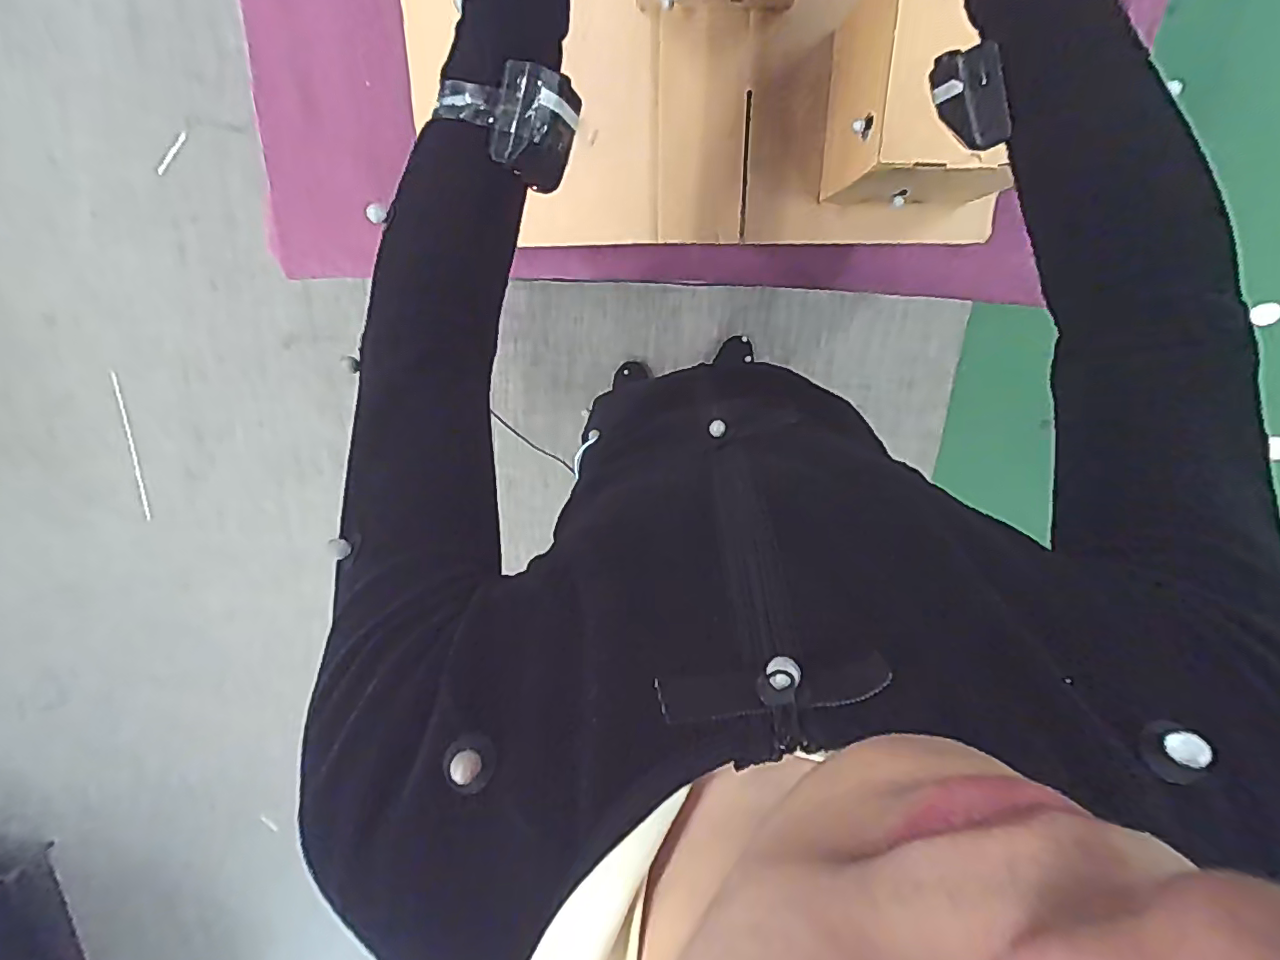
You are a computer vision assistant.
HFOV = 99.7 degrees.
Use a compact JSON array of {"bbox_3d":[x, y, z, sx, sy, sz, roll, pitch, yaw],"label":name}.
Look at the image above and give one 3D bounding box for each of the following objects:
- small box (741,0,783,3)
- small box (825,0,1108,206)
[{"bbox_3d":[0.078,-0.551,0.461,0.168,0.176,0.179,0,106,0],"label":"small box"},{"bbox_3d":[0.288,-0.374,0.515,0.168,0.176,0.179,0,108,0],"label":"small box"}]
